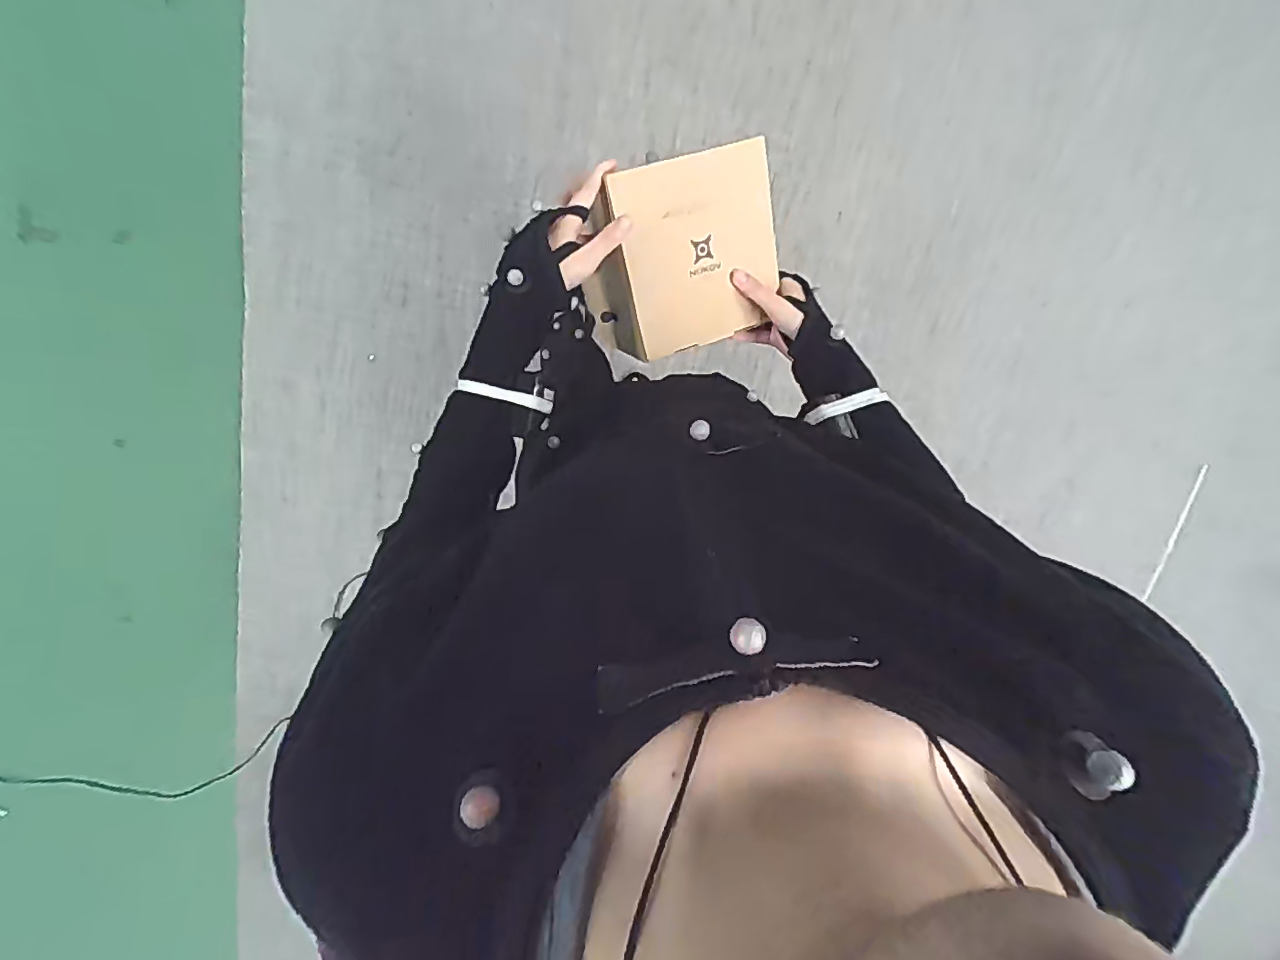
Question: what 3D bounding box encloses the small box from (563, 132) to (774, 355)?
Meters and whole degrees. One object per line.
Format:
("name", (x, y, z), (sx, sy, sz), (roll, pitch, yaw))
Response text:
("small box", (0.027, -0.258, 0.598), (0.168, 0.176, 0.179), (-20, 118, -13))
